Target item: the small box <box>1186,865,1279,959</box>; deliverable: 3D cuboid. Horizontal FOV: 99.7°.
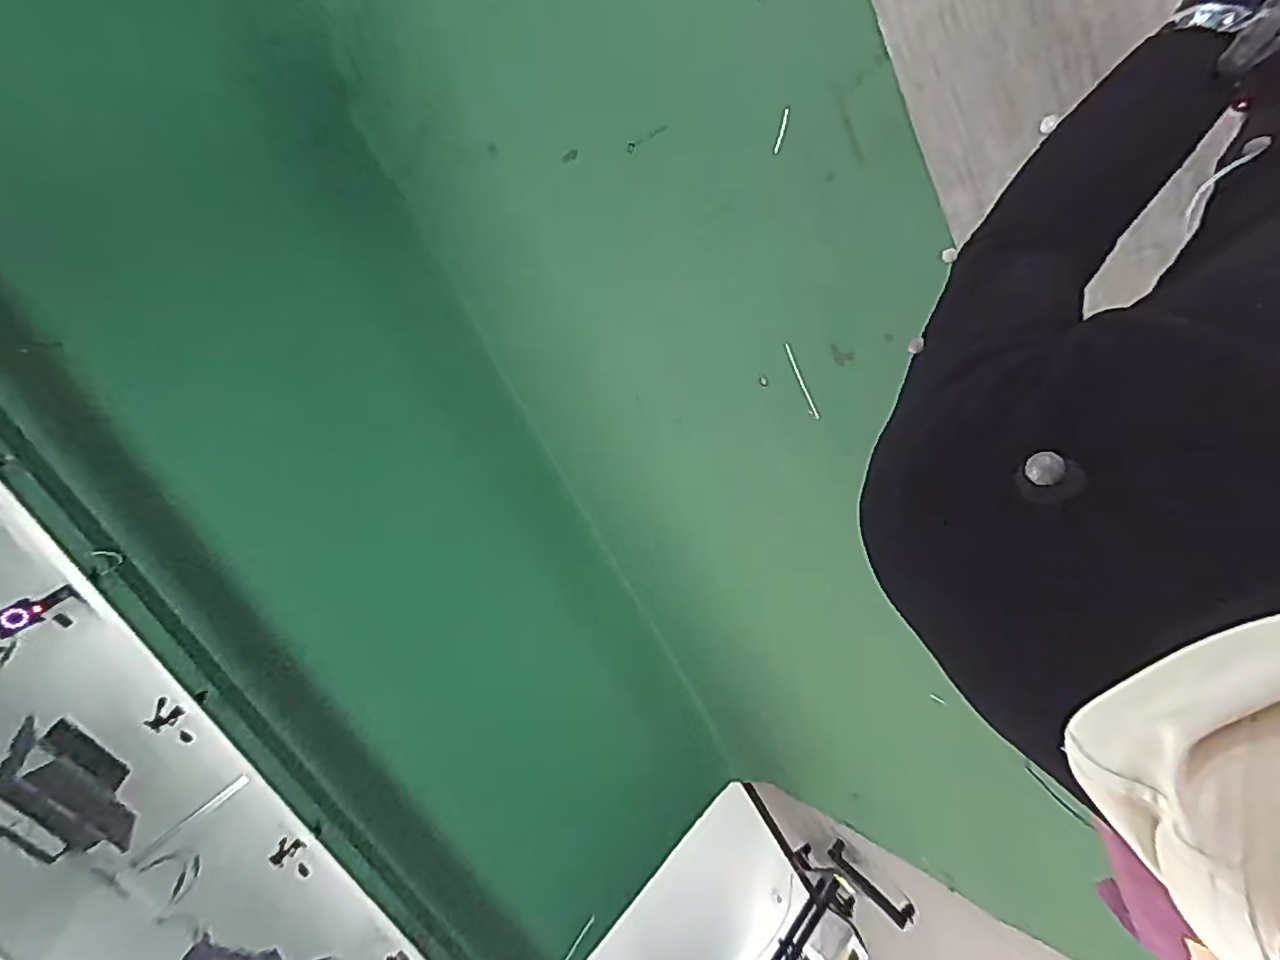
[{"bbox_3d":[1.108,0.826,0.943,0.179,0.176,0.168,-7,116,58],"label":"small box"}]
